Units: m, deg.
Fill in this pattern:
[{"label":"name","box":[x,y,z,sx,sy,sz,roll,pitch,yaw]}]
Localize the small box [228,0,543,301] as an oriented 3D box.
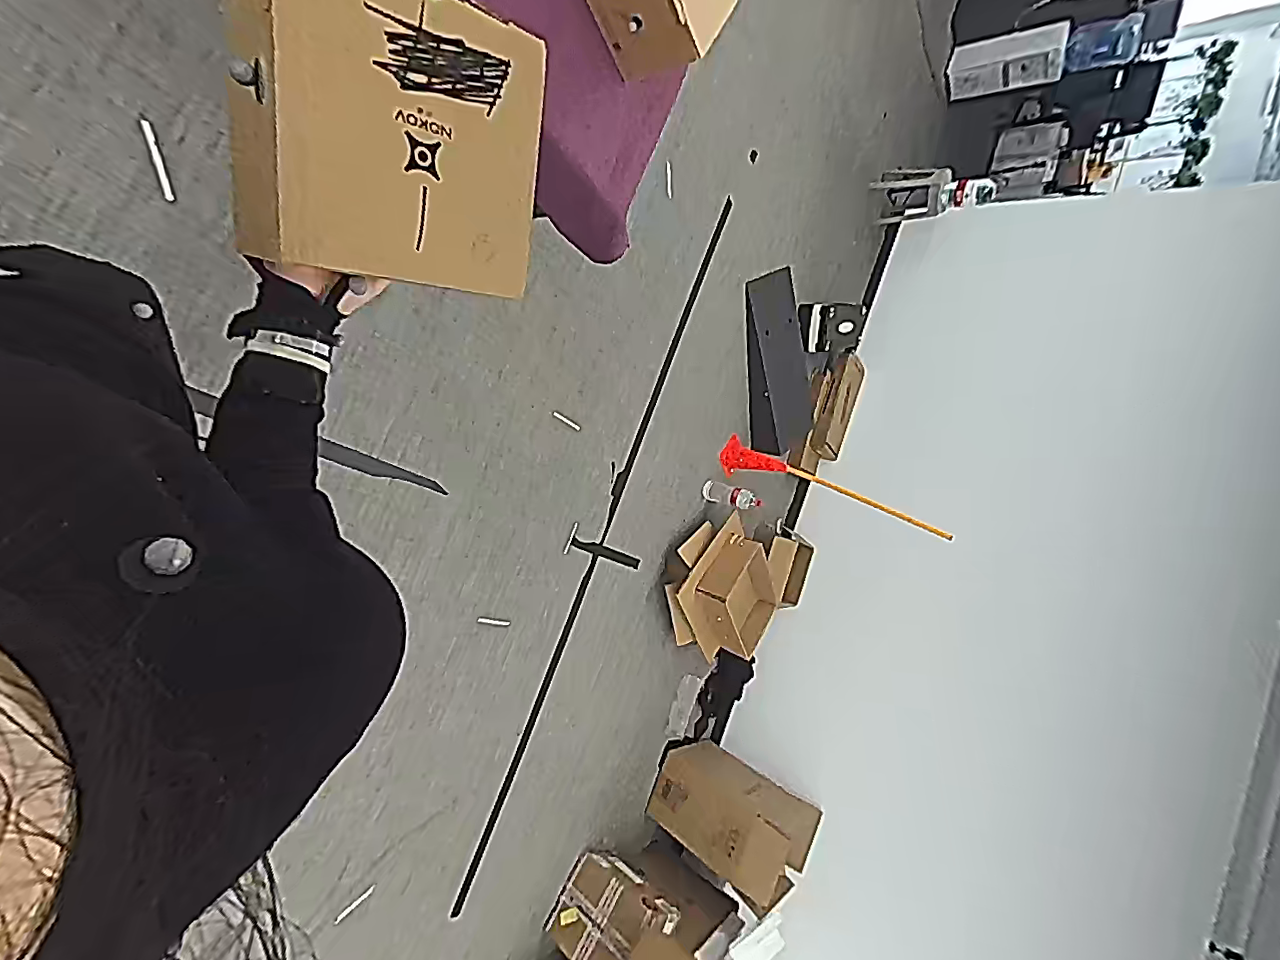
[{"label":"small box","box":[-0.195,-0.245,0.409,0.168,0.176,0.179,-7,114,-43]}]
